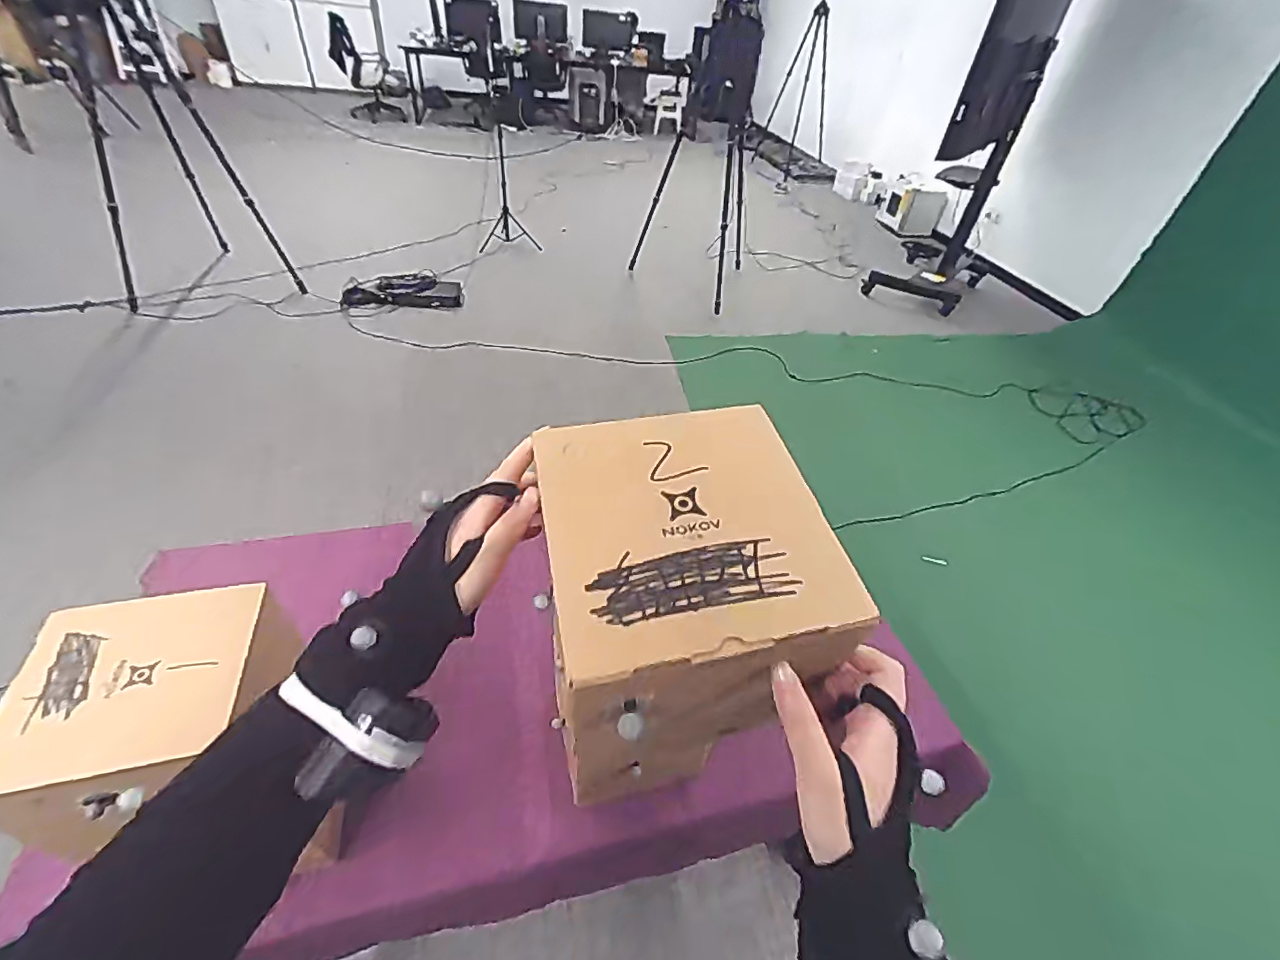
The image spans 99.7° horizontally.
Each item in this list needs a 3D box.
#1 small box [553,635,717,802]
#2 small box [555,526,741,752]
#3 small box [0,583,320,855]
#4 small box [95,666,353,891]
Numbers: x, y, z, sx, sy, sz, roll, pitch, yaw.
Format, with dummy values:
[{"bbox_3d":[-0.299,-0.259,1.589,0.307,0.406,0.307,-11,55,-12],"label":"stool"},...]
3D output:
[{"bbox_3d":[-0.015,0.304,0.726,0.179,0.176,0.168,-8,44,-14],"label":"small box"},{"bbox_3d":[-0.006,0.179,0.621,0.168,0.176,0.179,-6,44,-14],"label":"small box"},{"bbox_3d":[-0.436,0.225,0.514,0.179,0.176,0.168,-6,44,-15],"label":"small box"},{"bbox_3d":[-0.449,0.345,0.625,0.168,0.176,0.179,-6,43,-14],"label":"small box"}]
